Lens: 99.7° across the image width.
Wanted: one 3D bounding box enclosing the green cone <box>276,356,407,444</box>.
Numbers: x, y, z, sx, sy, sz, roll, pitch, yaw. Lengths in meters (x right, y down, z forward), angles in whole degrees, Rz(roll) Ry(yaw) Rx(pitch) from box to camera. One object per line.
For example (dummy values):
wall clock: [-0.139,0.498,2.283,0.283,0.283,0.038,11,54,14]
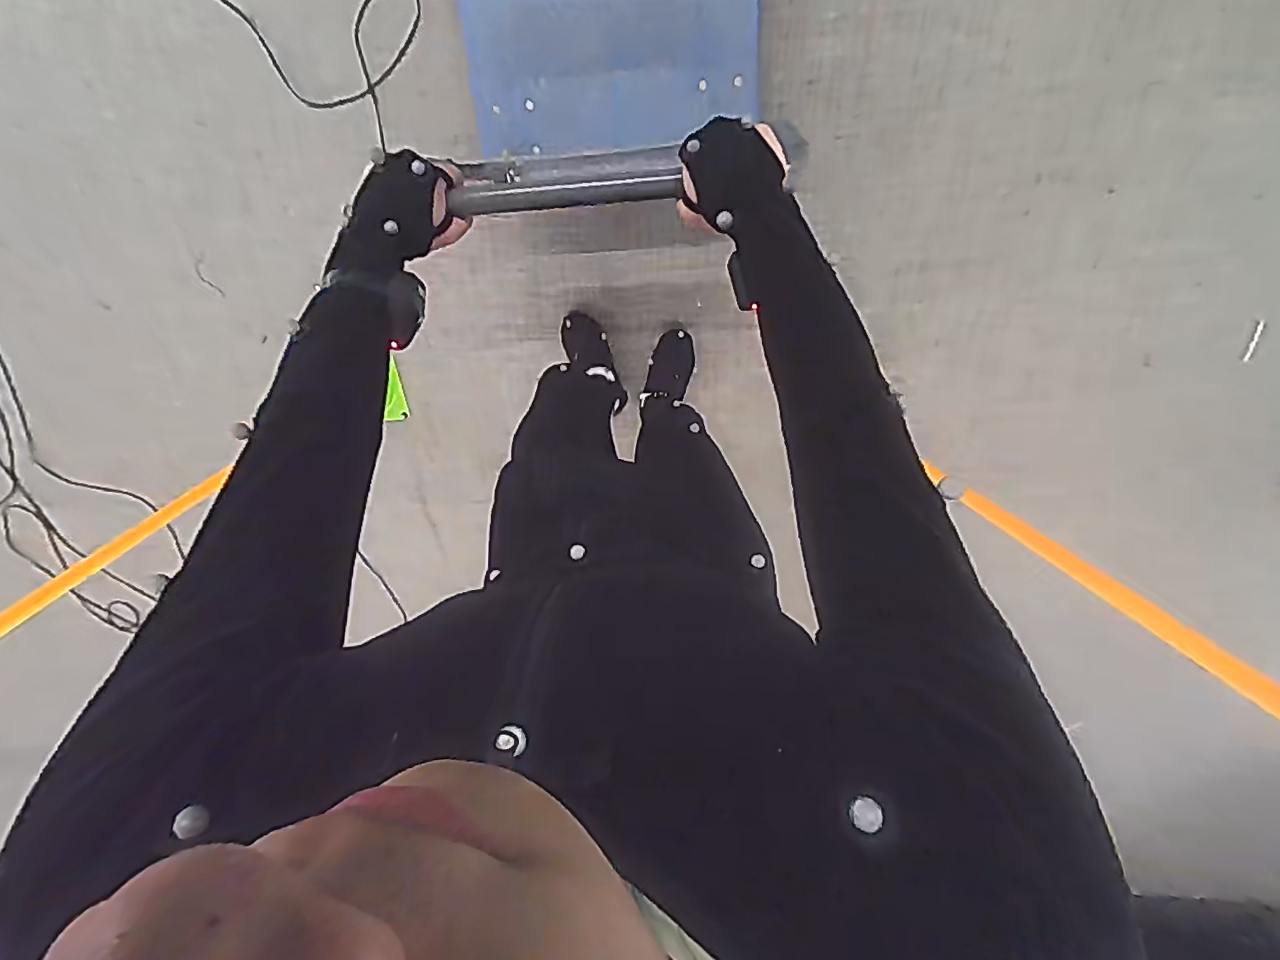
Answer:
green cone: [-0.806,-0.183,1.414,0.202,0.368,0.200,-4,115,8]
